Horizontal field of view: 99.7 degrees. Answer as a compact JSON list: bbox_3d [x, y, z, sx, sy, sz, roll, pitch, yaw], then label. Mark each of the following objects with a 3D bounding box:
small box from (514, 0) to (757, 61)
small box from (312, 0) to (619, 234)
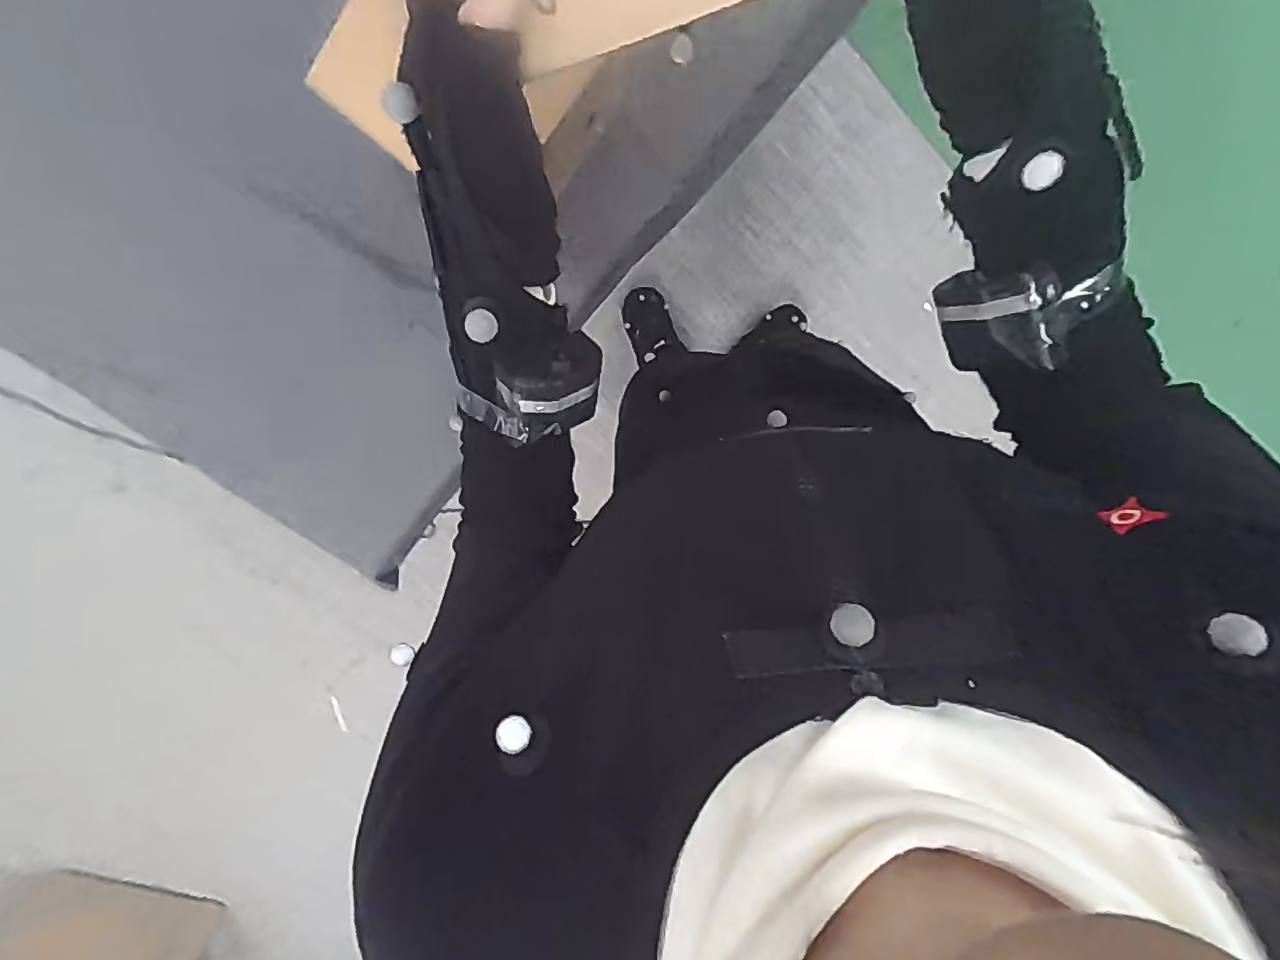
[{"bbox_3d":[0.012,-0.296,0.220,0.179,0.176,0.168,-15,127,3],"label":"small box"},{"bbox_3d":[-0.135,-0.349,0.481,0.168,0.176,0.179,38,105,-13],"label":"small box"}]
